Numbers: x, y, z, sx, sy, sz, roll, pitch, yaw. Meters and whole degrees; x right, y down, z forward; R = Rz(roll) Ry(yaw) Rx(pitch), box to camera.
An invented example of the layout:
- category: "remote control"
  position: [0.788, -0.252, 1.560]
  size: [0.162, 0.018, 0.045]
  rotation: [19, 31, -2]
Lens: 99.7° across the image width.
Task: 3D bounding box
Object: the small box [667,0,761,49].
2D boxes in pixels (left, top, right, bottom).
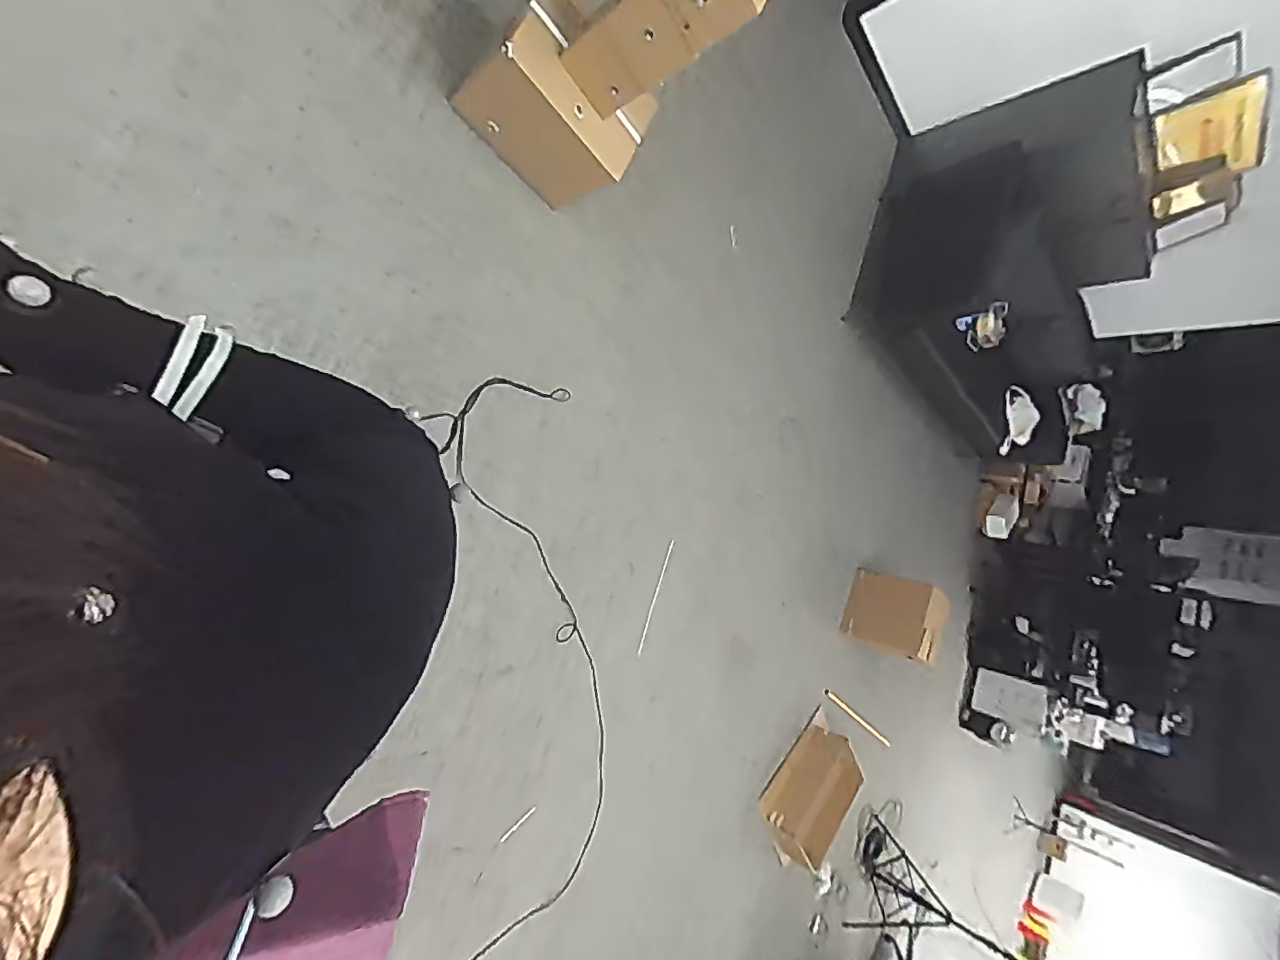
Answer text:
- category: "small box"
  position: [0.158, -1.059, 1.124]
  size: [0.168, 0.176, 0.179]
  rotation: [39, 67, -39]

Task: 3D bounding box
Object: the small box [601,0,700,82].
- category: "small box"
  position: [0.046, -1.064, 1.243]
  size: [0.179, 0.176, 0.168]
  rotation: [39, 66, -38]

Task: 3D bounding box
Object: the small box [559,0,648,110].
- category: "small box"
  position: [-0.067, -1.079, 1.362]
  size: [0.179, 0.176, 0.168]
  rotation: [38, 67, -38]
